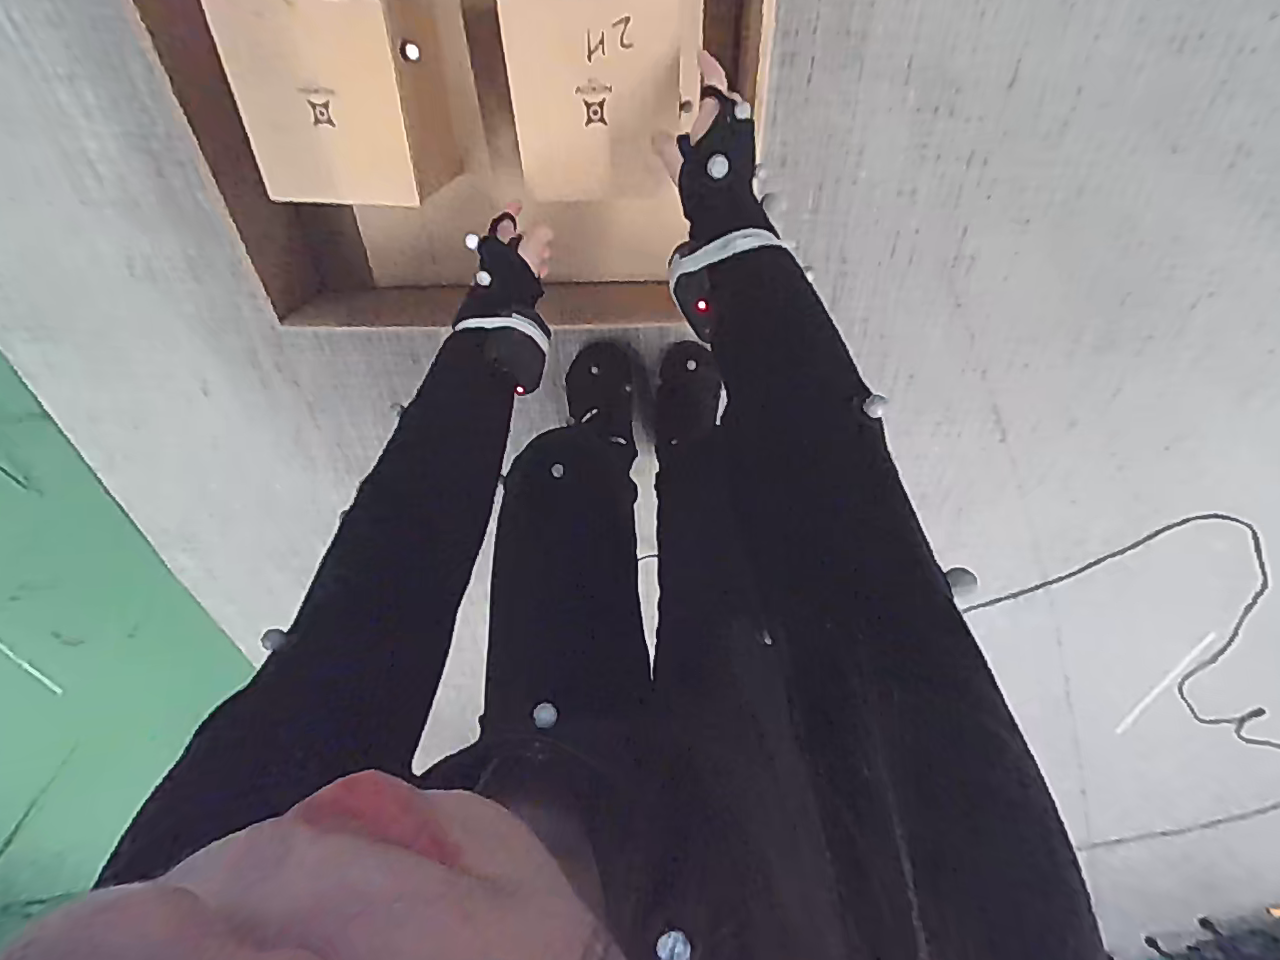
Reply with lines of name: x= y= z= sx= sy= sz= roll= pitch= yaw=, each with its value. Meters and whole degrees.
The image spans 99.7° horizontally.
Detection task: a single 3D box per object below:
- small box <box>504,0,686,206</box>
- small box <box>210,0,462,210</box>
small box: x=-0.036 y=-0.416 z=0.593 sx=0.168 sy=0.176 sz=0.179 roll=-1 pitch=129 yaw=2
small box: x=-0.311 y=-0.418 z=0.602 sx=0.168 sy=0.176 sz=0.179 roll=2 pitch=128 yaw=-1
